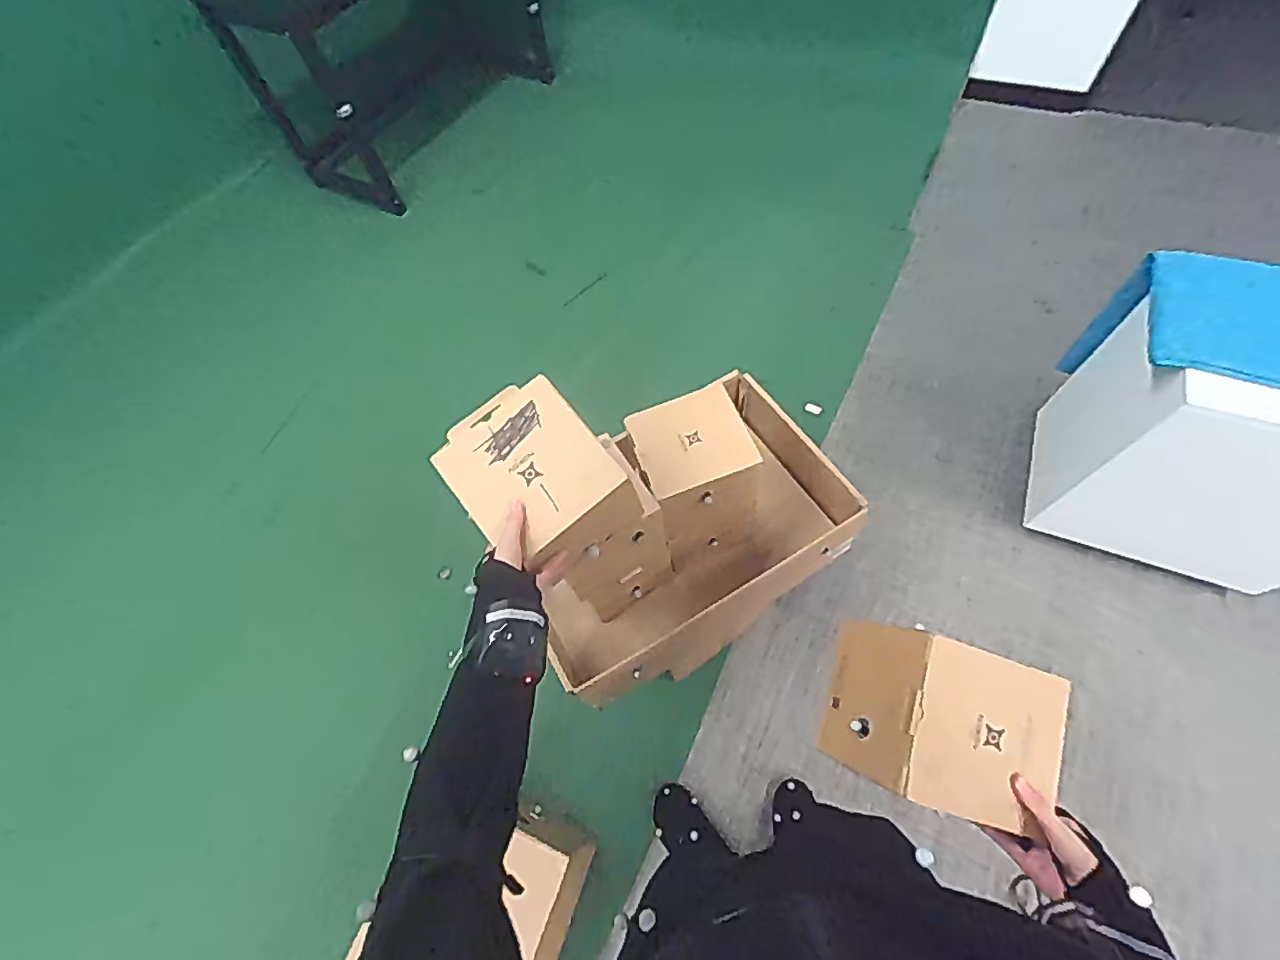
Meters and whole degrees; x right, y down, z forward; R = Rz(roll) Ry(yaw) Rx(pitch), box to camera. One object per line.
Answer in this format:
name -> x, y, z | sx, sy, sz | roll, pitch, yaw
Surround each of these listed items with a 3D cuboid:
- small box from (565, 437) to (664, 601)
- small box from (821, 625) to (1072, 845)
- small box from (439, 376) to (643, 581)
small box -> -0.072, 0.068, 0.883 | 0.179, 0.176, 0.168 | -30, 61, -10
small box -> 0.338, 0.274, 0.624 | 0.179, 0.176, 0.168 | 21, 77, -7
small box -> -0.115, 0.008, 0.695 | 0.168, 0.176, 0.179 | -39, 71, -6
